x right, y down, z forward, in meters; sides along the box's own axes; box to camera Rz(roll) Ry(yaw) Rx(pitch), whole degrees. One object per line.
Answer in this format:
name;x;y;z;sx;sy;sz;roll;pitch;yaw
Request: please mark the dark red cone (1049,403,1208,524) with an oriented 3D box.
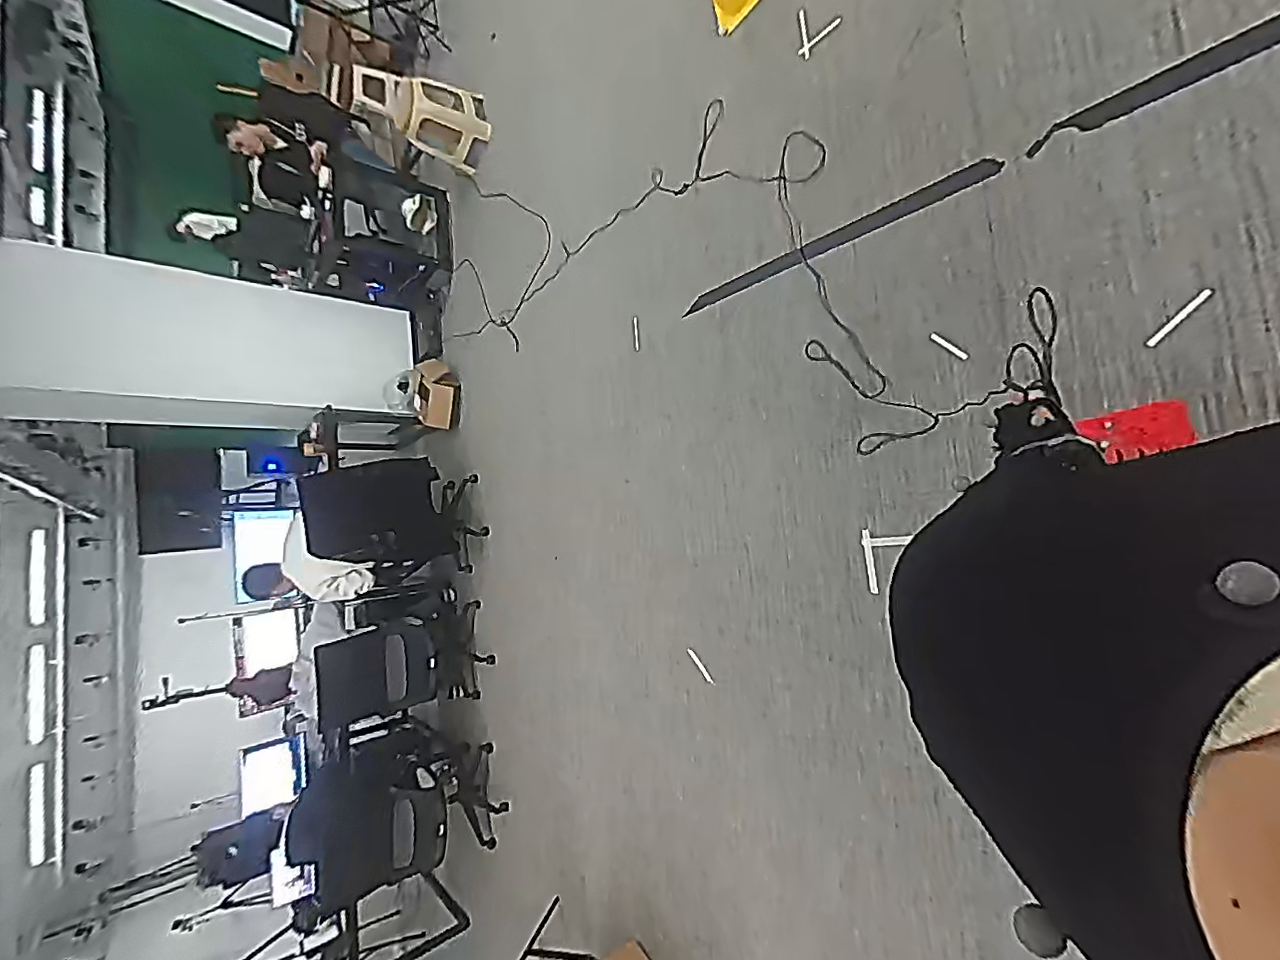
dark red cone;0.792;-0.027;0.923;0.202;0.394;0.201;-21;74;49
